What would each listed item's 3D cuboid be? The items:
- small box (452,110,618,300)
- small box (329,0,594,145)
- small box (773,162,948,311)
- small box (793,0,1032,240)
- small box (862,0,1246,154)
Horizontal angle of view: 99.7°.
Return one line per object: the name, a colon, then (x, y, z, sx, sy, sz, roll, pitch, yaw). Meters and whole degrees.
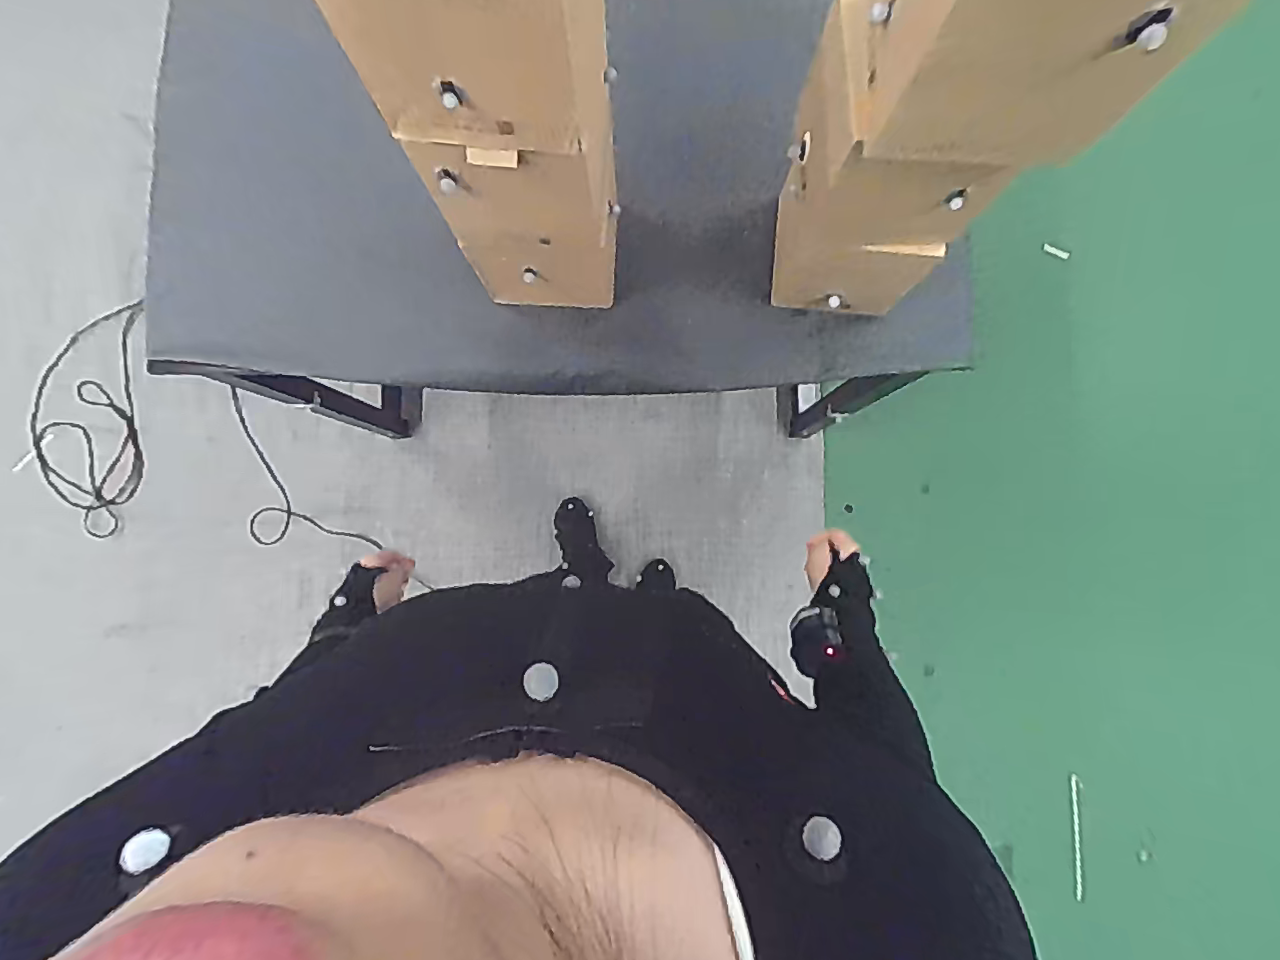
small box: (-0.126, -0.350, 0.712, 0.179, 0.176, 0.168, 3, 85, 1)
small box: (-0.124, -0.385, 0.386, 0.168, 0.176, 0.179, 5, 84, 0)
small box: (0.278, -0.346, 0.707, 0.168, 0.176, 0.179, 6, 84, 2)
small box: (0.266, -0.364, 0.546, 0.179, 0.176, 0.168, -2, 82, 2)
small box: (0.278, -0.362, 0.379, 0.179, 0.176, 0.168, 3, 82, 1)
